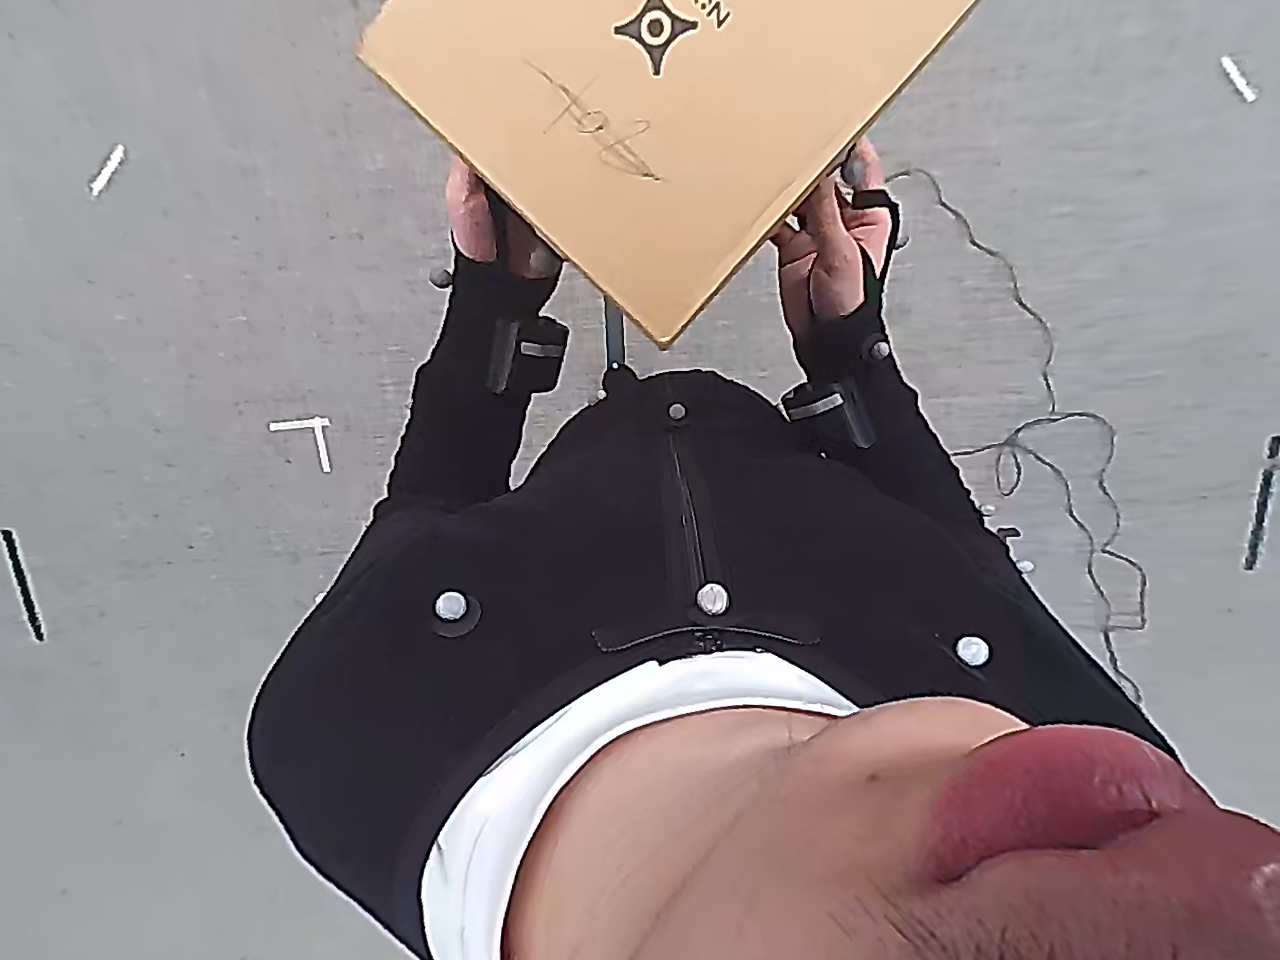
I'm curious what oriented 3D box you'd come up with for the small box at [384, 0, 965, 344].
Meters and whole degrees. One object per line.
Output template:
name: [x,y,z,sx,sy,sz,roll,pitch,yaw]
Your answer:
small box: [0.014,-0.193,0.291,0.168,0.176,0.179,42,102,-5]
